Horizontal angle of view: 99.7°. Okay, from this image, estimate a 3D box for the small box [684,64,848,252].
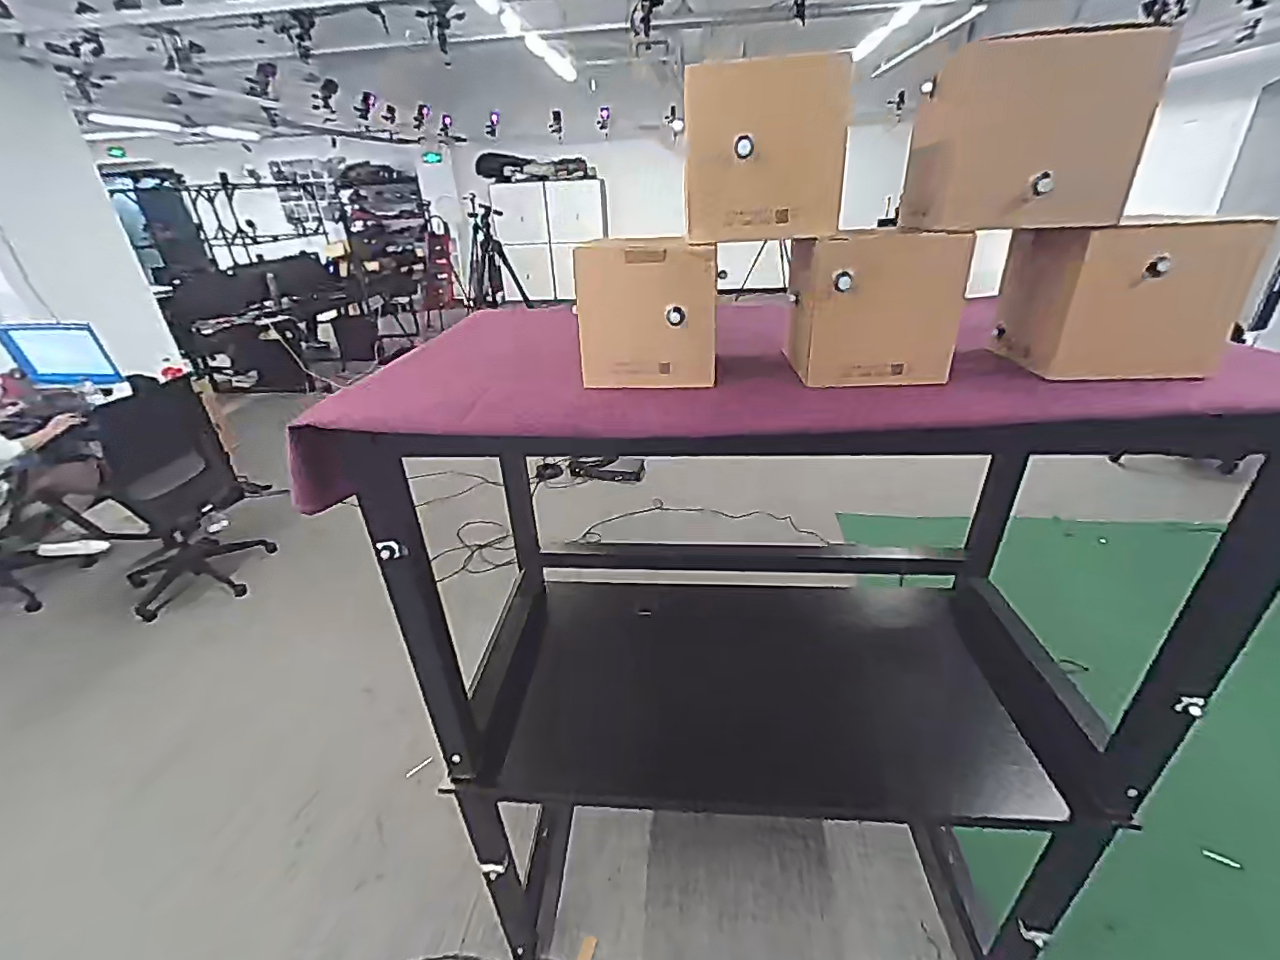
[{"bbox_3d":[0.140,-0.369,0.649,0.168,0.176,0.179,-1,26,6],"label":"small box"}]

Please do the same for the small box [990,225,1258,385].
[{"bbox_3d":[0.569,-0.220,0.673,0.179,0.176,0.168,0,27,6],"label":"small box"}]

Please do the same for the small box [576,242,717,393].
[{"bbox_3d":[0.019,-0.220,0.722,0.168,0.176,0.179,2,27,6],"label":"small box"}]

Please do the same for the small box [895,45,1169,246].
[{"bbox_3d":[0.415,-0.366,0.613,0.179,0.176,0.168,2,27,7],"label":"small box"}]
